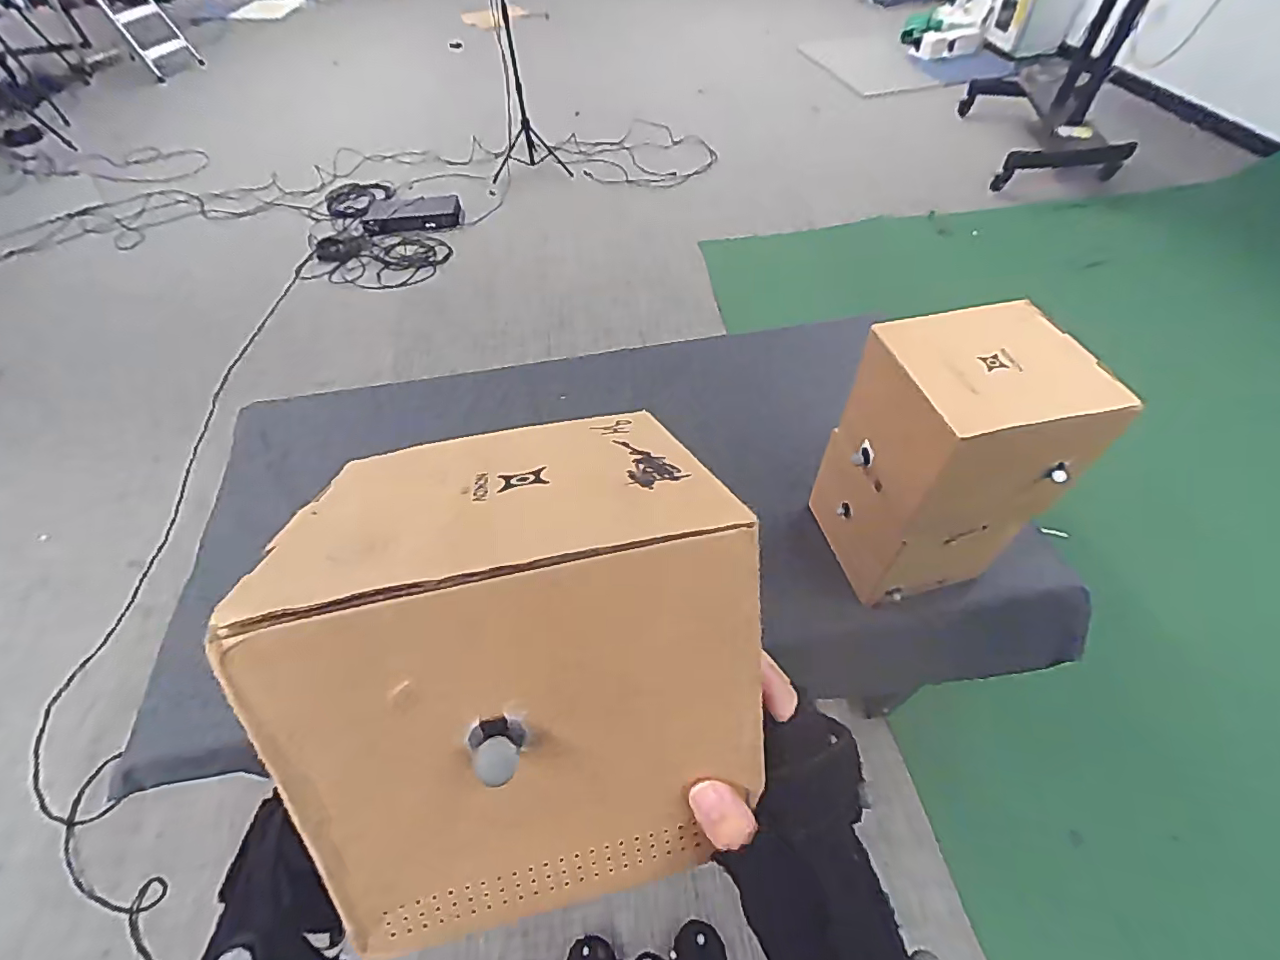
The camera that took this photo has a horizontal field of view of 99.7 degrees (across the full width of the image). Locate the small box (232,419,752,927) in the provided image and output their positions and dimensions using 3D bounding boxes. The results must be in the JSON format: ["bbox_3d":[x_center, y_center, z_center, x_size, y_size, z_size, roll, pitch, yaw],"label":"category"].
[{"bbox_3d":[-0.053,0.079,0.284,0.179,0.176,0.168,-11,22,-10],"label":"small box"}]

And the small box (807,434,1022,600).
[{"bbox_3d":[0.344,0.043,0.718,0.168,0.176,0.179,-12,51,-6],"label":"small box"}]

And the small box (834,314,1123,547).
[{"bbox_3d":[0.337,-0.050,0.585,0.179,0.176,0.168,-11,50,-4],"label":"small box"}]
